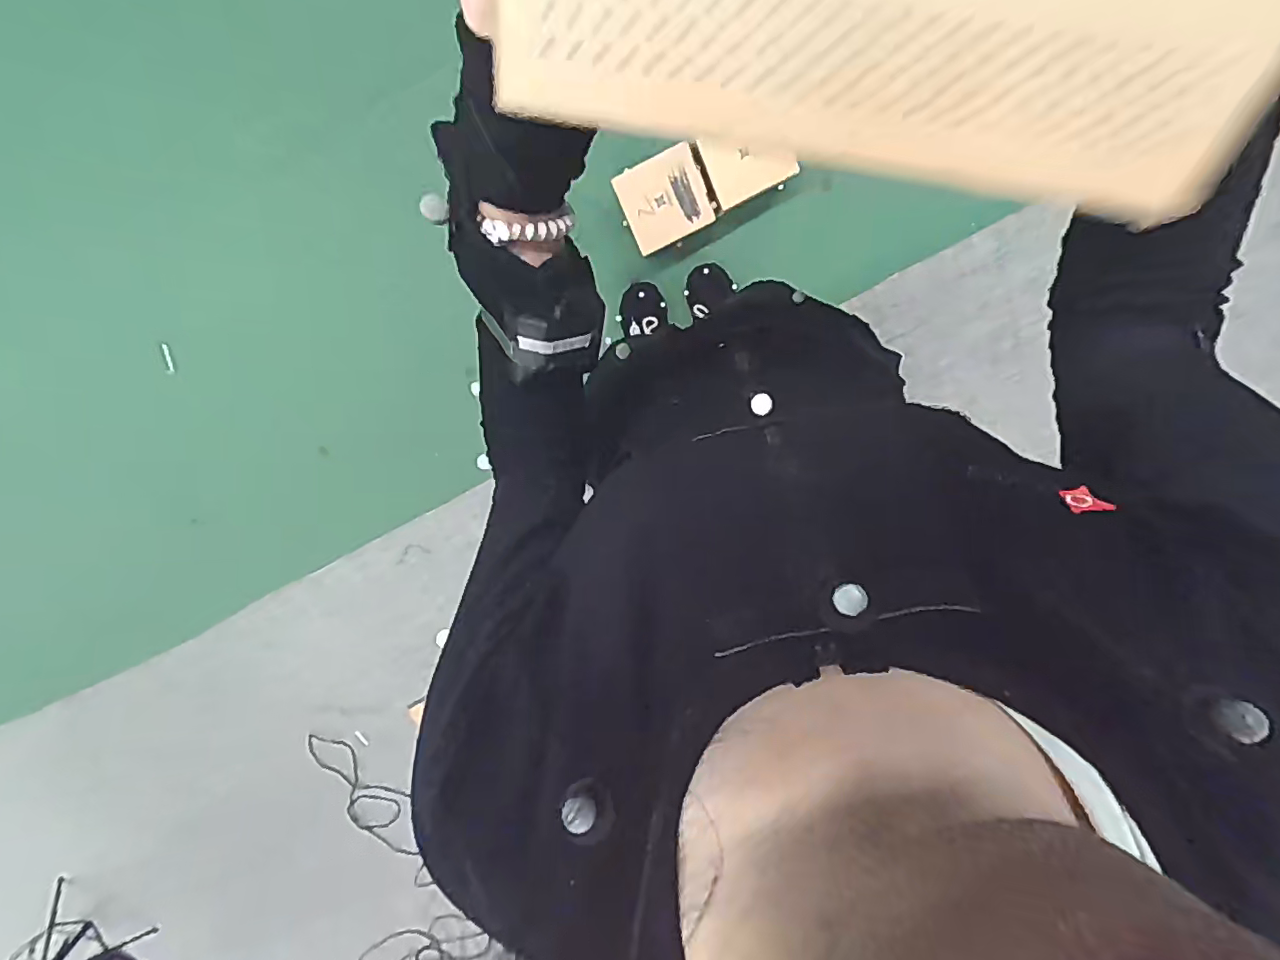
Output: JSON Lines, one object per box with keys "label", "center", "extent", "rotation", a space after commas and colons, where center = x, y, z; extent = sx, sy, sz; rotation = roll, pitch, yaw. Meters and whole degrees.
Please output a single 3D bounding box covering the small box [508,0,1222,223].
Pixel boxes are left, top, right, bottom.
{"label": "small box", "center": [0.066, -0.194, 0.157], "extent": [0.179, 0.168, 0.176], "rotation": [12, 134, 0]}
